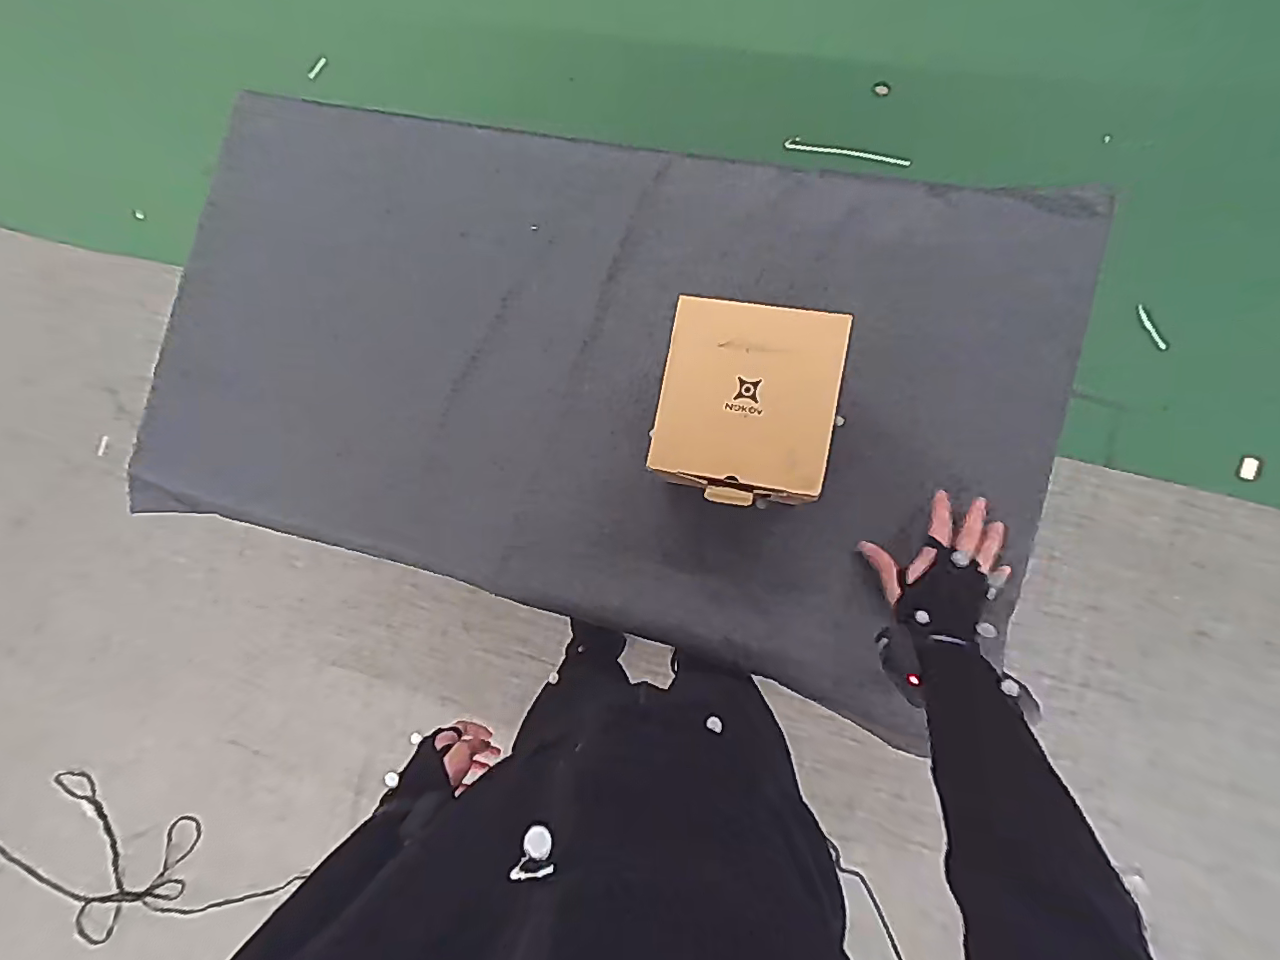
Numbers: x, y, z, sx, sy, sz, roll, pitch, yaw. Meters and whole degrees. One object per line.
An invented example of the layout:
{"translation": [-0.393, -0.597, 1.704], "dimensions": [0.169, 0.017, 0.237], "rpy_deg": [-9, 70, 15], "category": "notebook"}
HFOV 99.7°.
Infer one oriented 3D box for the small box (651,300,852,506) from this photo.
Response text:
{"translation": [0.117, -0.071, 0.593], "dimensions": [0.168, 0.176, 0.179], "rpy_deg": [10, 85, 9], "category": "small box"}
